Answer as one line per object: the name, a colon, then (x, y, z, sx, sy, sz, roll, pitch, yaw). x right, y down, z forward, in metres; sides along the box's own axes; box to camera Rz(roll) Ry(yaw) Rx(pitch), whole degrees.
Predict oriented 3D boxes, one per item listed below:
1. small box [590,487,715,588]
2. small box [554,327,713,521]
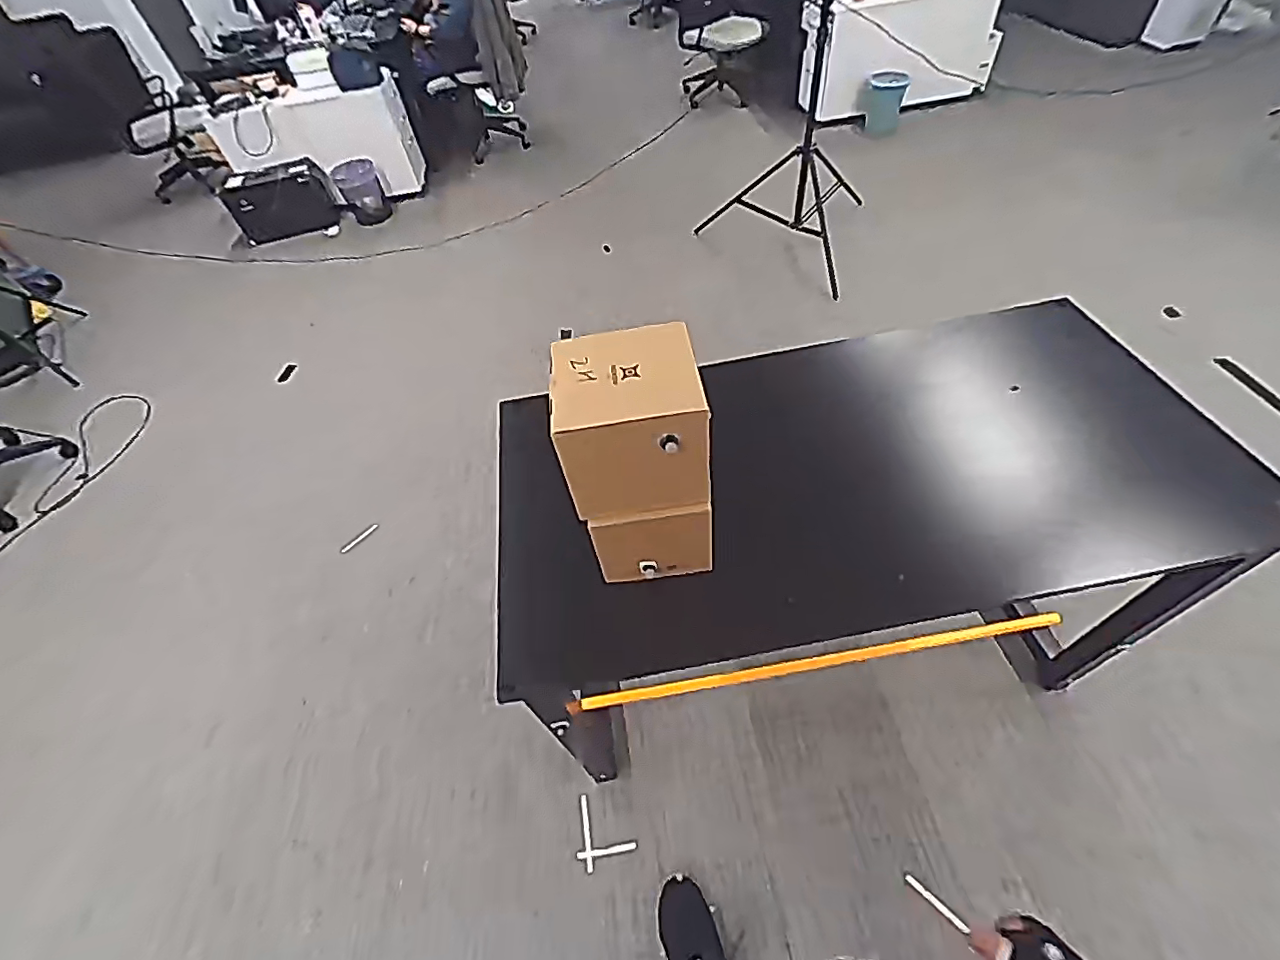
small box: (0.017, 0.039, 0.817, 0.168, 0.176, 0.179, -9, 52, 2)
small box: (-0.006, -0.067, 0.693, 0.179, 0.176, 0.168, -9, 50, 2)
